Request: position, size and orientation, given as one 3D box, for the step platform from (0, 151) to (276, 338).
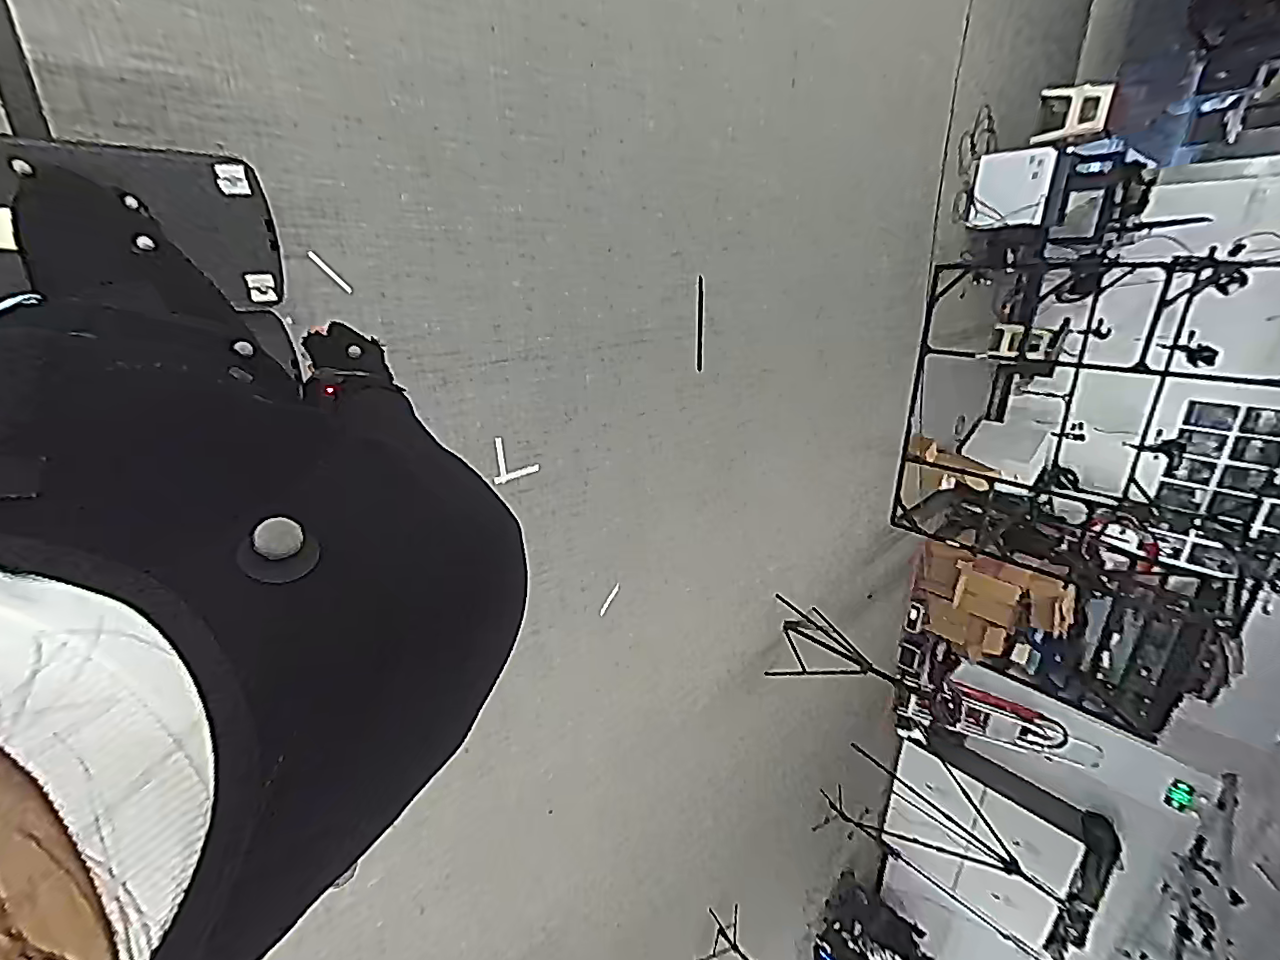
[{"bbox_3d":[-1.055,-0.408,0.949,0.684,0.204,0.286,-21,120,-40],"label":"step platform"}]
